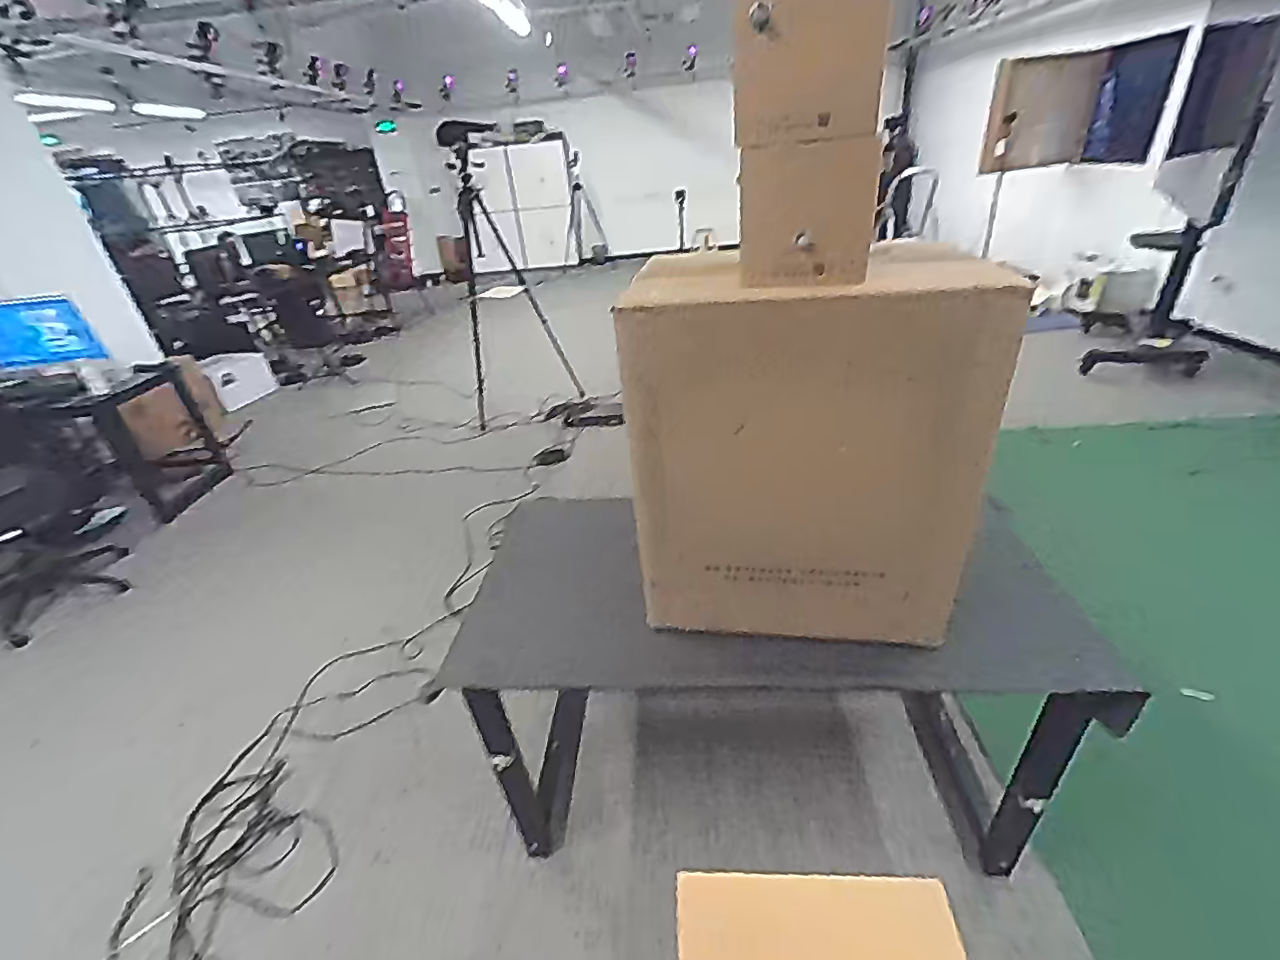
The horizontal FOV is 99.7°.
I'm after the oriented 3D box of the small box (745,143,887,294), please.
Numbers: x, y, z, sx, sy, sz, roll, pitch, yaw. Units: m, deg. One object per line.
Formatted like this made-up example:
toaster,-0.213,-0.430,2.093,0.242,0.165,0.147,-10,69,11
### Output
small box,0.241,-0.373,0.769,0.168,0.176,0.179,4,34,15
